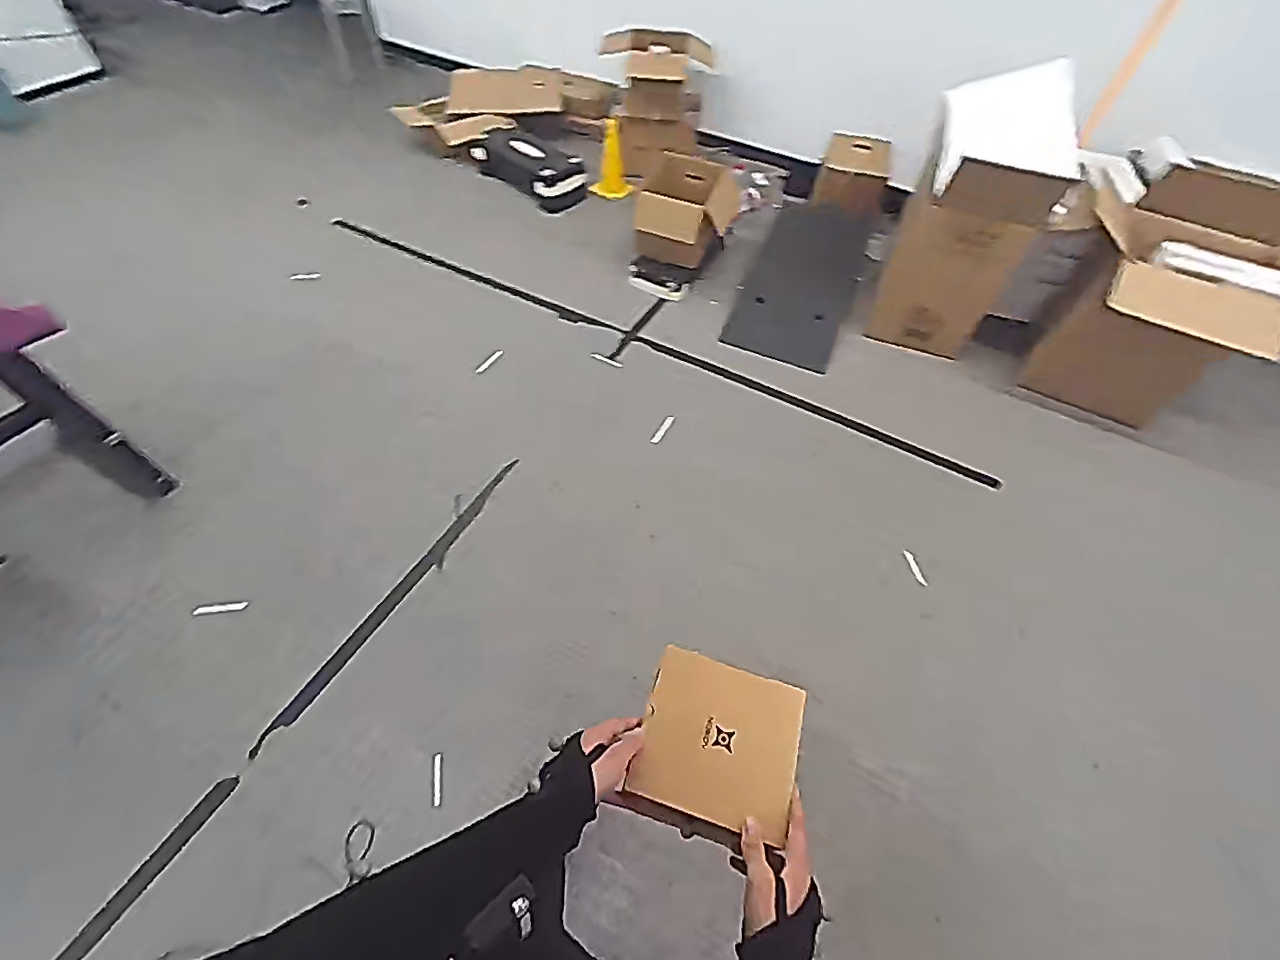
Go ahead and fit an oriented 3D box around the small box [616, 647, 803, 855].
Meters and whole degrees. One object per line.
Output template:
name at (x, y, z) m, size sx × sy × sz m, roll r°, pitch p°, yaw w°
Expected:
small box at (0.079, 0.329, 0.653) m, size 0.179 × 0.176 × 0.168 m, roll 15°, pitch 55°, yaw 9°
